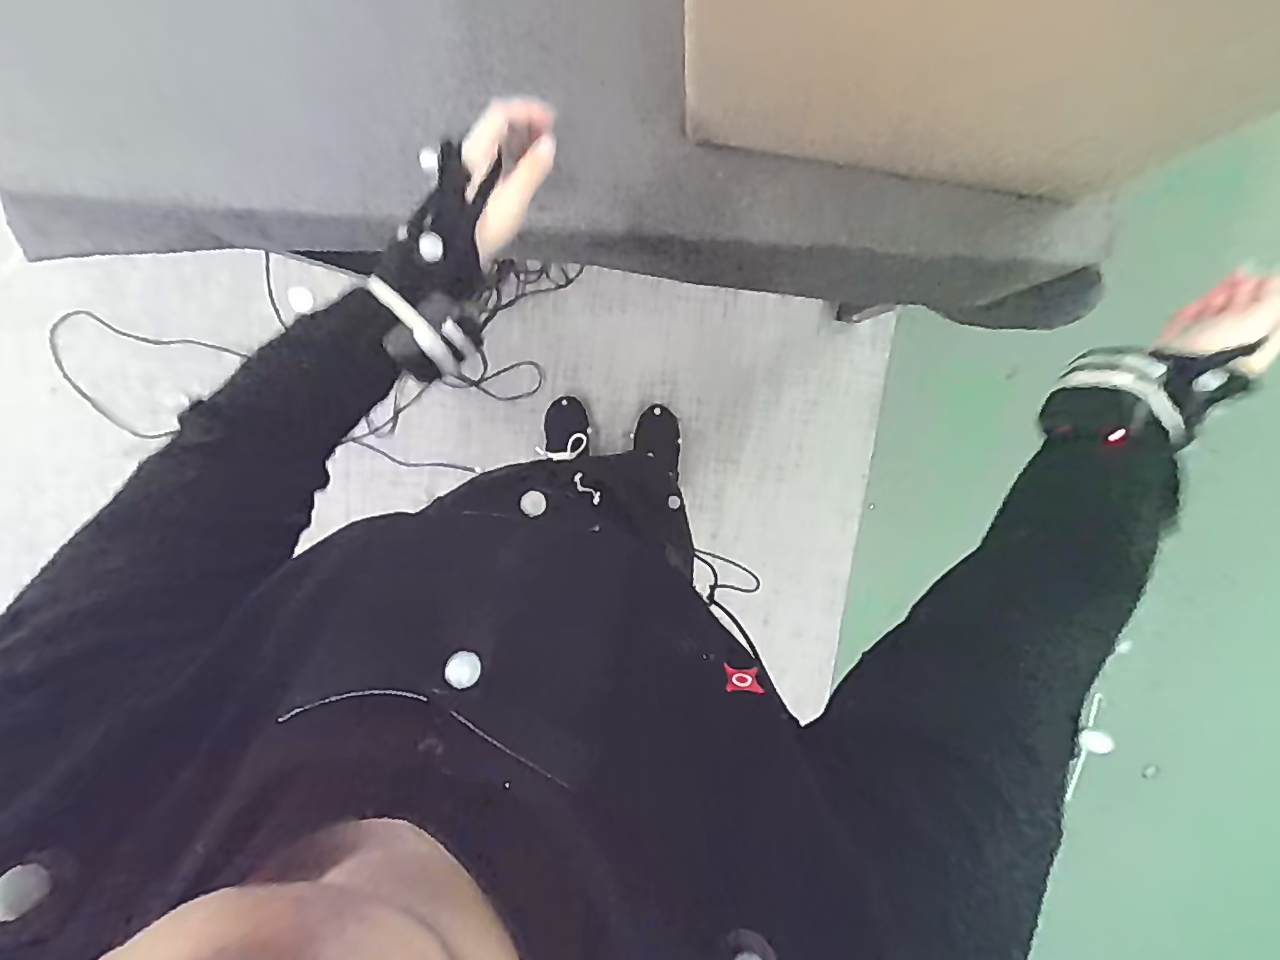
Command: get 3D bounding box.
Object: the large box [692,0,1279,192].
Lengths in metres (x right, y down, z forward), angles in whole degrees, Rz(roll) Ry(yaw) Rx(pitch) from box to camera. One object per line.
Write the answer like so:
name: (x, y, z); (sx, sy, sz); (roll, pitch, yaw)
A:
large box: (0.261, -0.438, 0.374); (0.408, 0.320, 0.320); (10, 101, 2)
